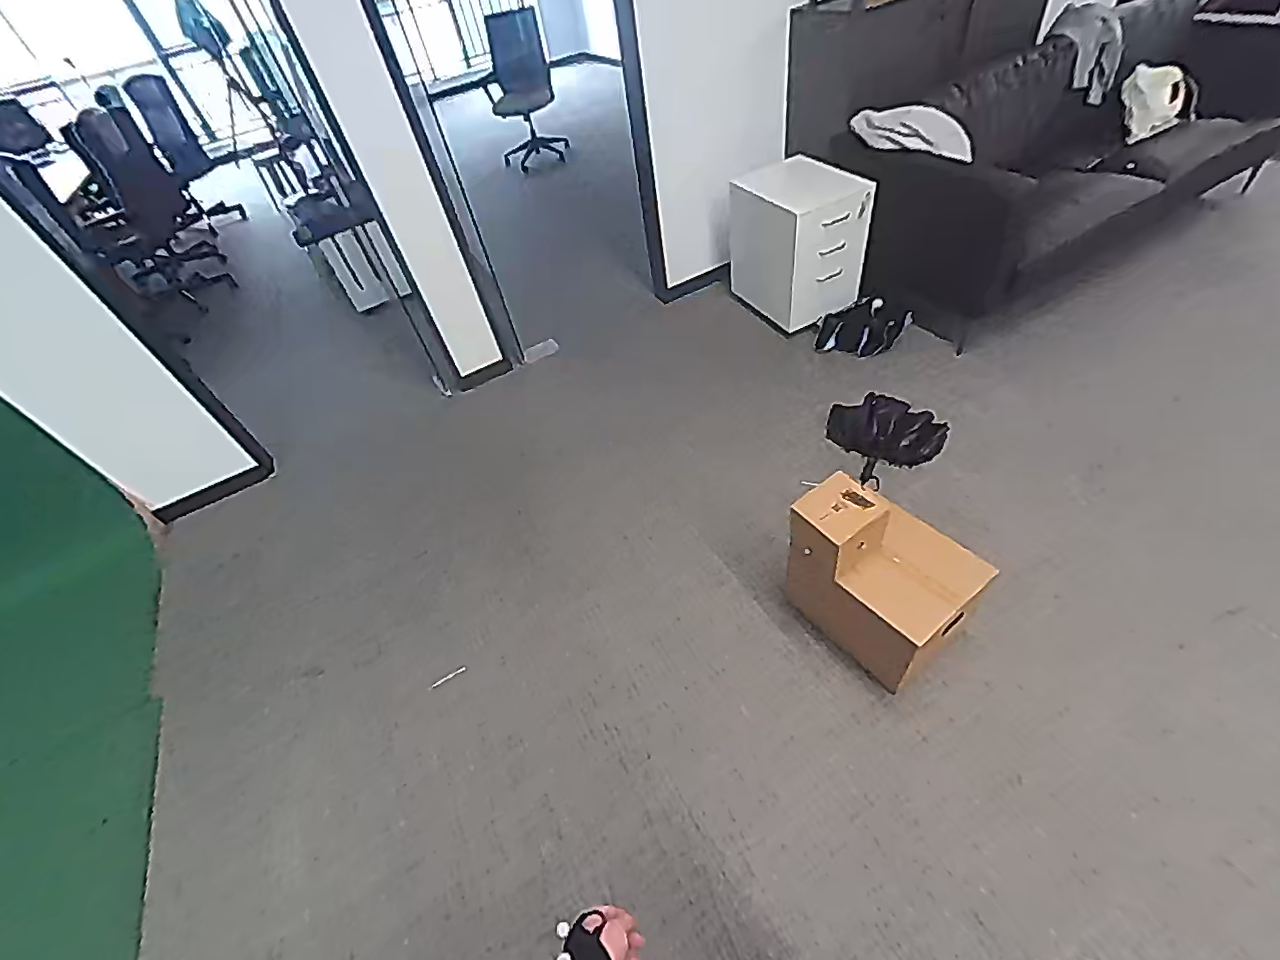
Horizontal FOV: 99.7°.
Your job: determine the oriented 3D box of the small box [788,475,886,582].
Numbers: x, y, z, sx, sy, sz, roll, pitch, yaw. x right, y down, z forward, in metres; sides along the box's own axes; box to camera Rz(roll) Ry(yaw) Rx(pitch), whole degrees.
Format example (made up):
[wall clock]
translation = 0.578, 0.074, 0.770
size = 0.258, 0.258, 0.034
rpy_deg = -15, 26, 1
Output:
[small box]
translation = 0.497, 0.127, 1.391
size = 0.179, 0.176, 0.168
rpy_deg = -32, 49, -14
